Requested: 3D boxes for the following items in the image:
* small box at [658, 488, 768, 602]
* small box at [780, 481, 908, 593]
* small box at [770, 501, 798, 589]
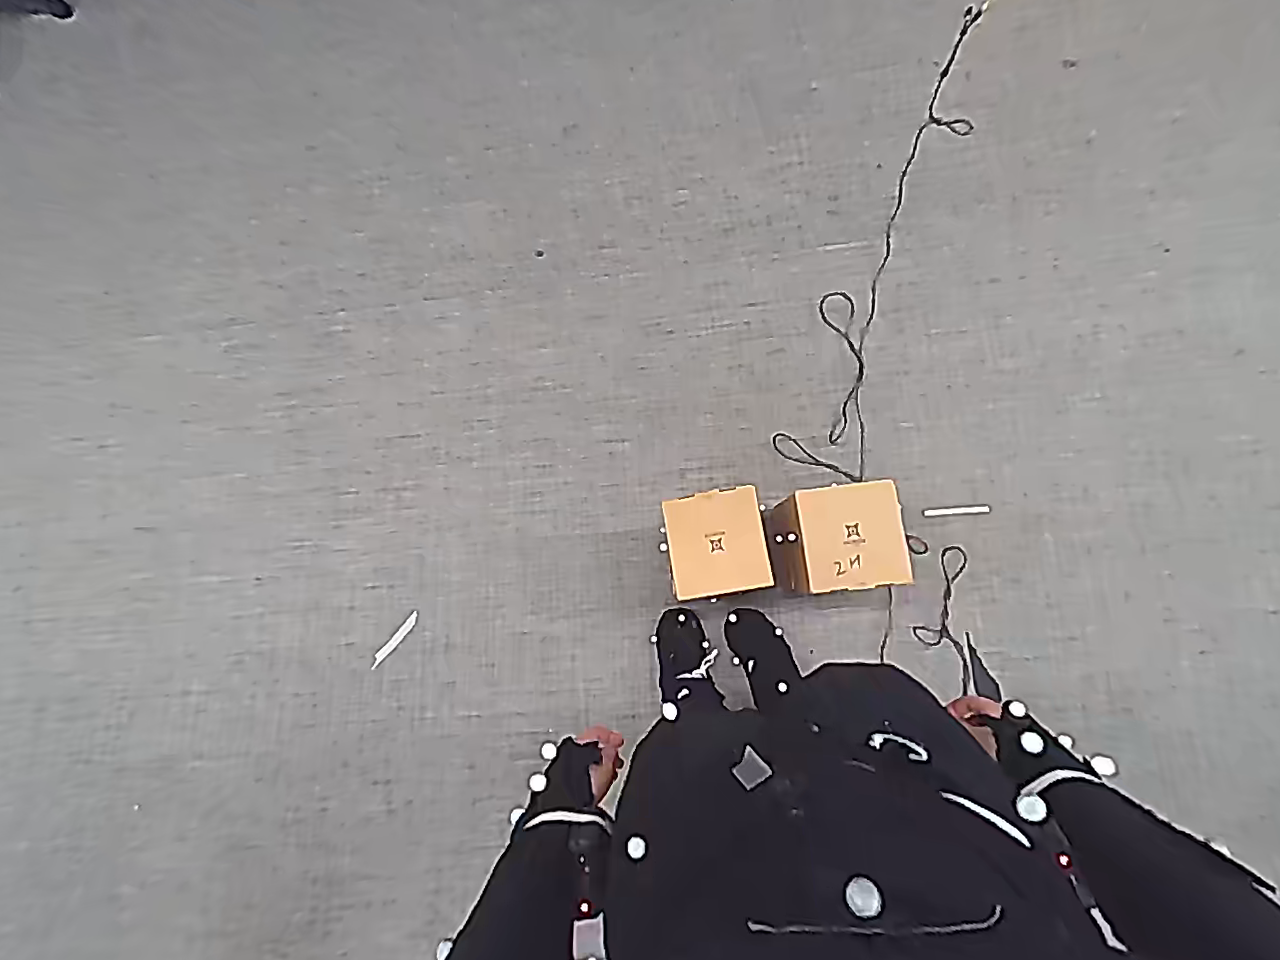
[{"bbox_3d":[0.134,0.123,1.003,0.168,0.176,0.179,-10,78,5],"label":"small box"},{"bbox_3d":[0.356,0.108,0.977,0.168,0.176,0.179,-7,80,6],"label":"small box"},{"bbox_3d":[0.373,0.135,1.139,0.168,0.176,0.179,-5,81,6],"label":"small box"}]
